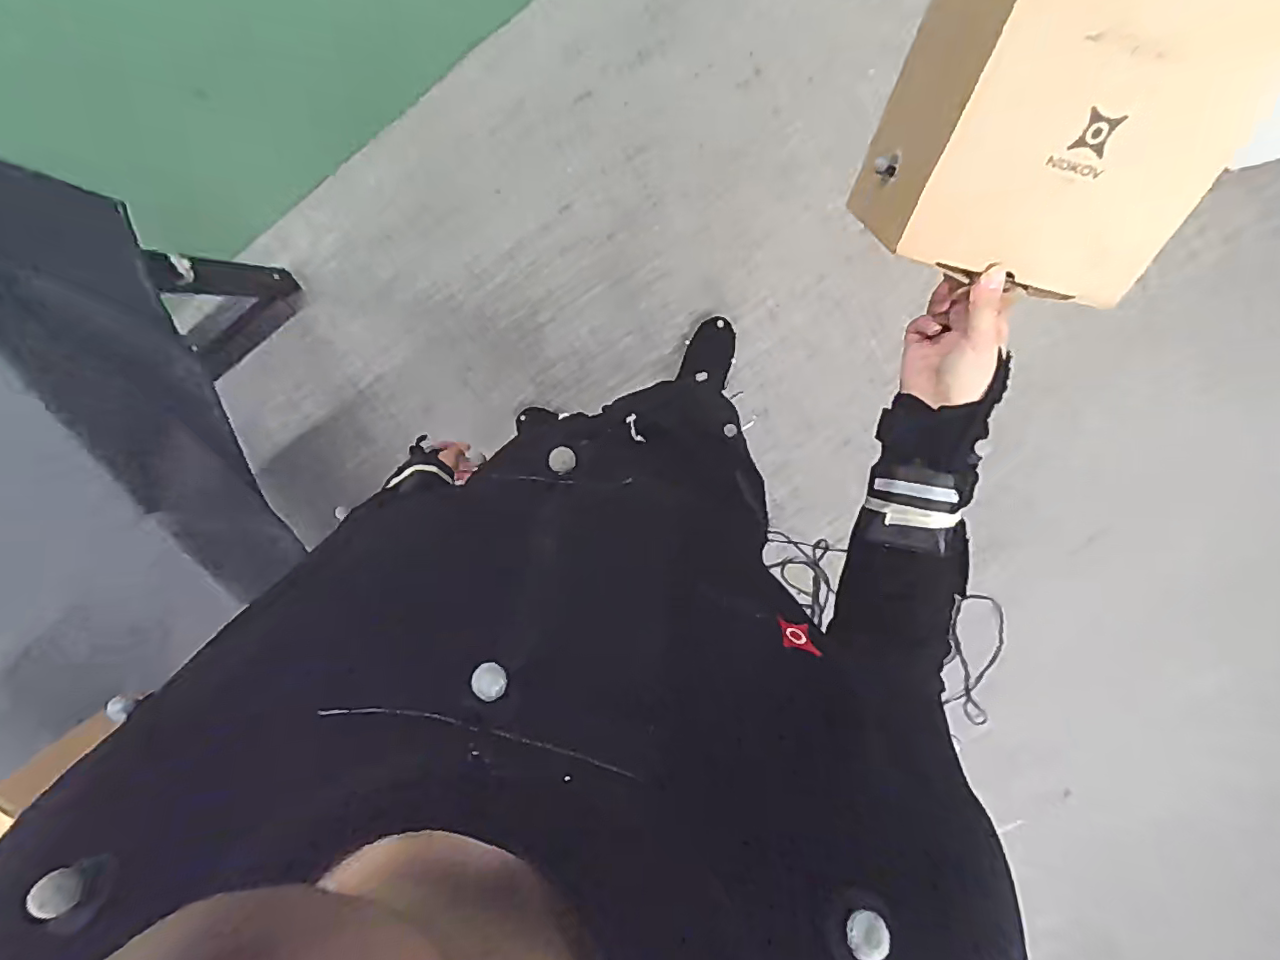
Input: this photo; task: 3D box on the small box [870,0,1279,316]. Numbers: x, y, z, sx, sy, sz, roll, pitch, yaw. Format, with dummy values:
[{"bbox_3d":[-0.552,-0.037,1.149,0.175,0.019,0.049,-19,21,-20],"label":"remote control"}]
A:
[{"bbox_3d":[0.289,-0.247,0.389,0.168,0.176,0.179,13,126,-3],"label":"small box"}]
